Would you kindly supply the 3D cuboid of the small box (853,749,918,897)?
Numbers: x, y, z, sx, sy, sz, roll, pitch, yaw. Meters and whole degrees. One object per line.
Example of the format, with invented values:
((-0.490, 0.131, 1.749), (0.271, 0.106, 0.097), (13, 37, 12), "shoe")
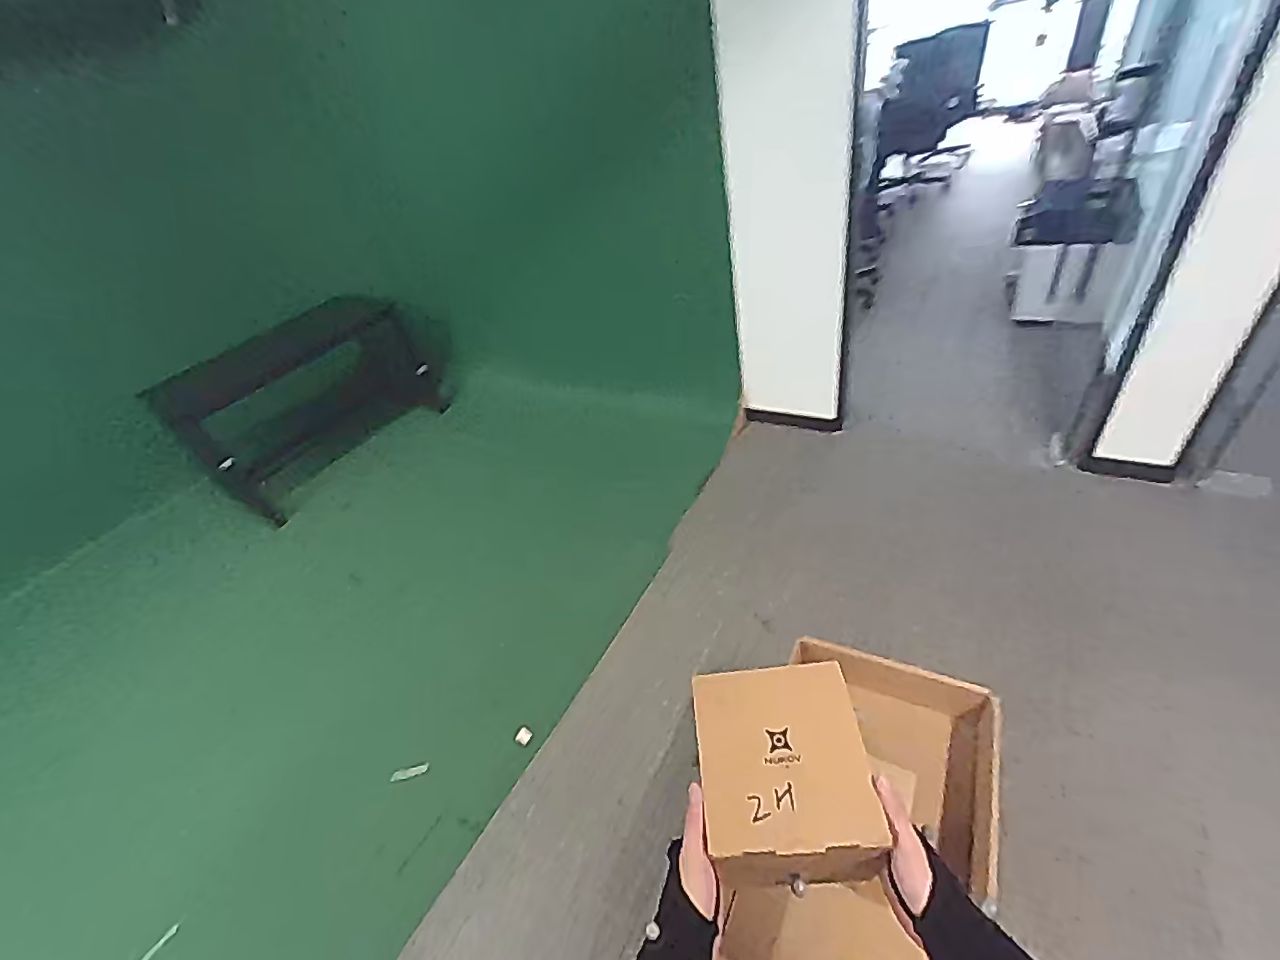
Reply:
((0.394, 0.610, 0.985), (0.168, 0.176, 0.179), (12, 44, 28), "small box")

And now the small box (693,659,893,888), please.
((0.153, 0.324, 0.596), (0.168, 0.176, 0.179), (-9, 45, 6), "small box")
